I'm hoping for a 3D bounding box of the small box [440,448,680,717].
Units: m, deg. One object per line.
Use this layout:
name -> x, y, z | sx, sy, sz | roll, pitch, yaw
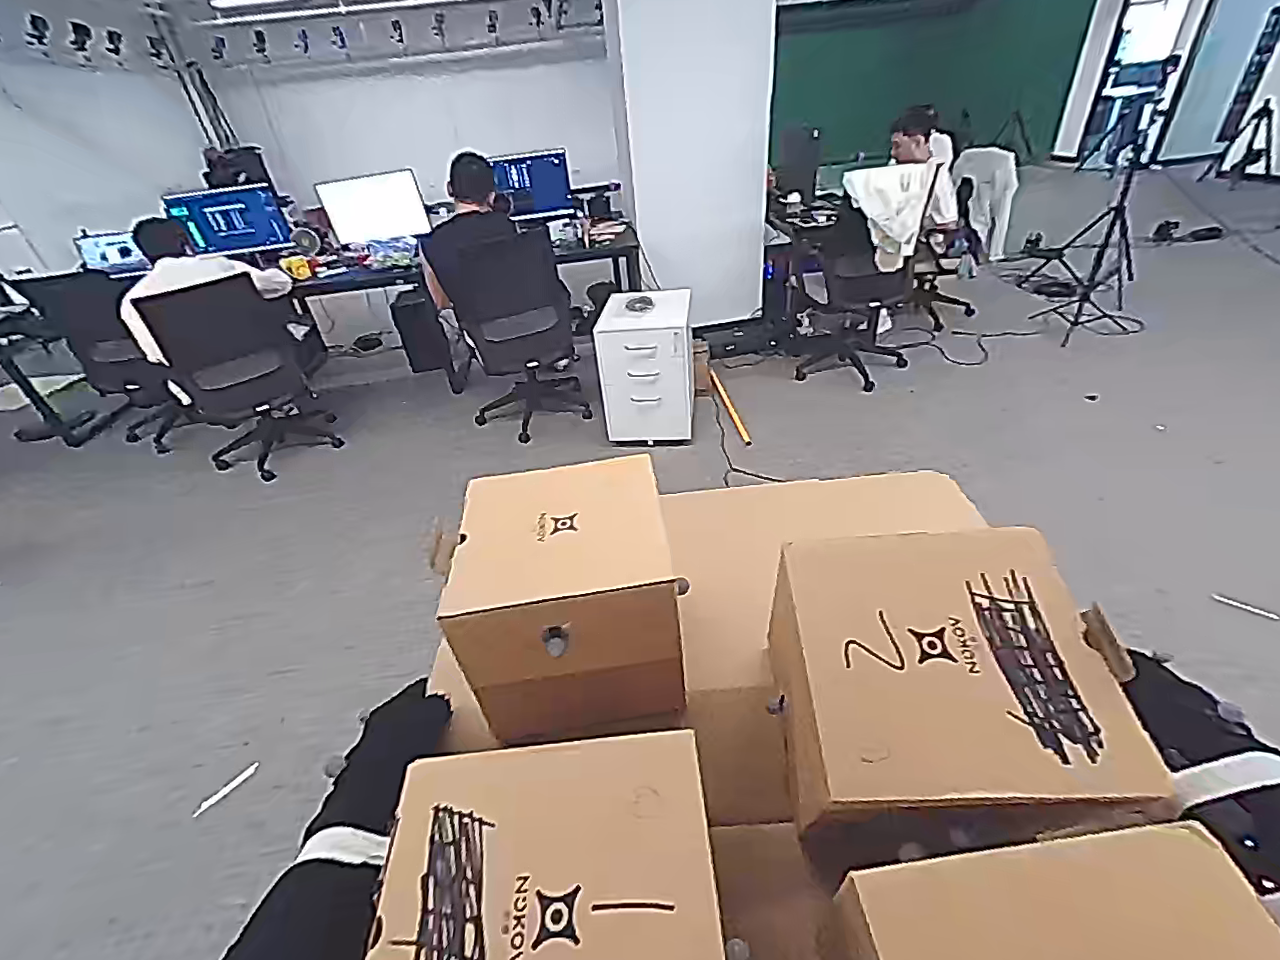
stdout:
small box -> -0.060, 0.095, 0.508 | 0.179, 0.176, 0.168 | -9, 37, 0
